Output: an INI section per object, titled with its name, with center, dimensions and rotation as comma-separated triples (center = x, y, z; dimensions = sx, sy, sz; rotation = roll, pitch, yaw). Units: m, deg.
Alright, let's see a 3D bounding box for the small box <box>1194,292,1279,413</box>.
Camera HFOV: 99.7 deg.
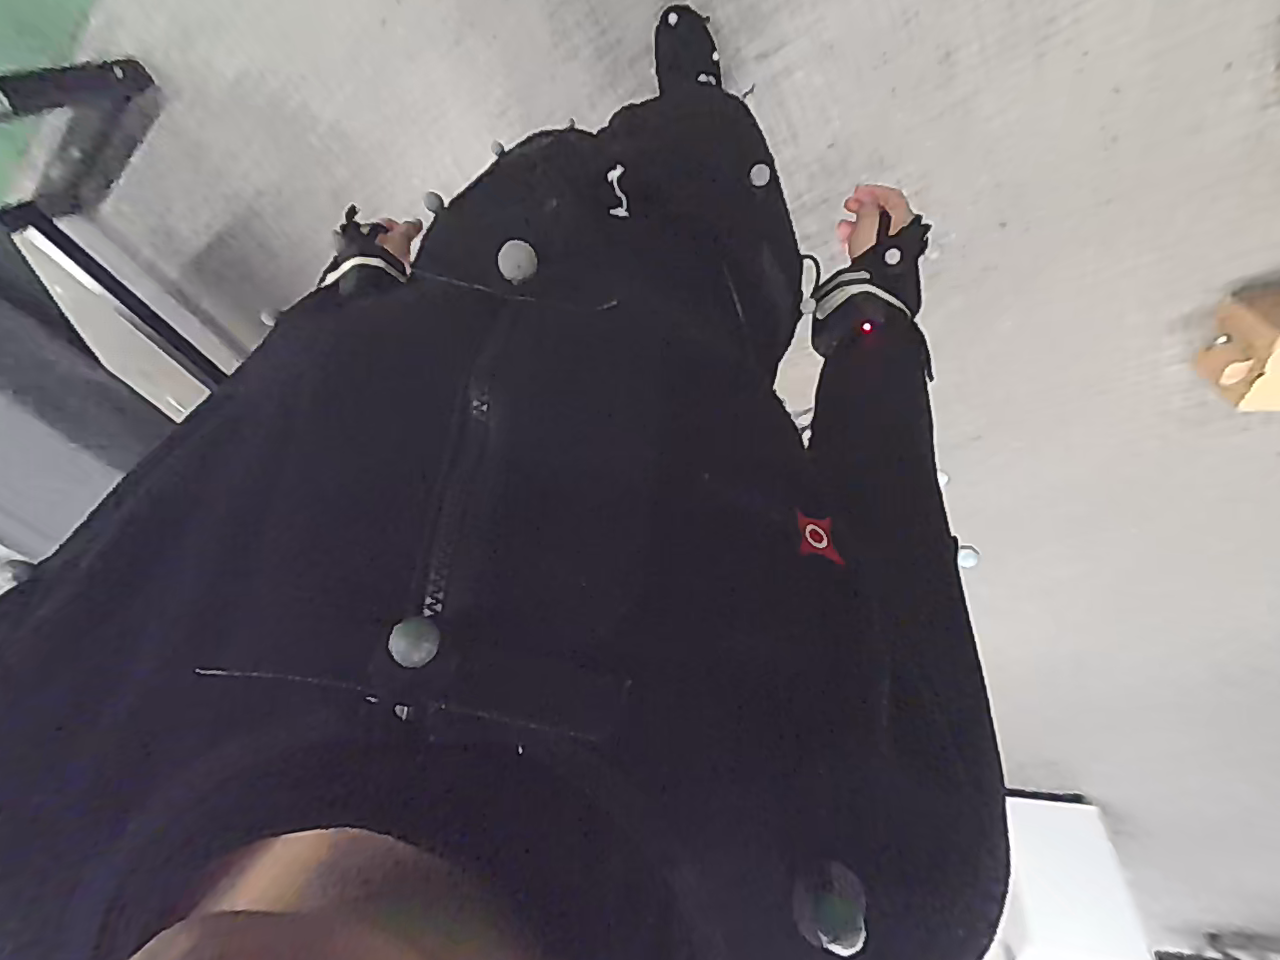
[small box]
center = 1.222, -0.245, 1.016
dimensions = 0.179, 0.176, 0.168
rotation = -1, 132, 17
